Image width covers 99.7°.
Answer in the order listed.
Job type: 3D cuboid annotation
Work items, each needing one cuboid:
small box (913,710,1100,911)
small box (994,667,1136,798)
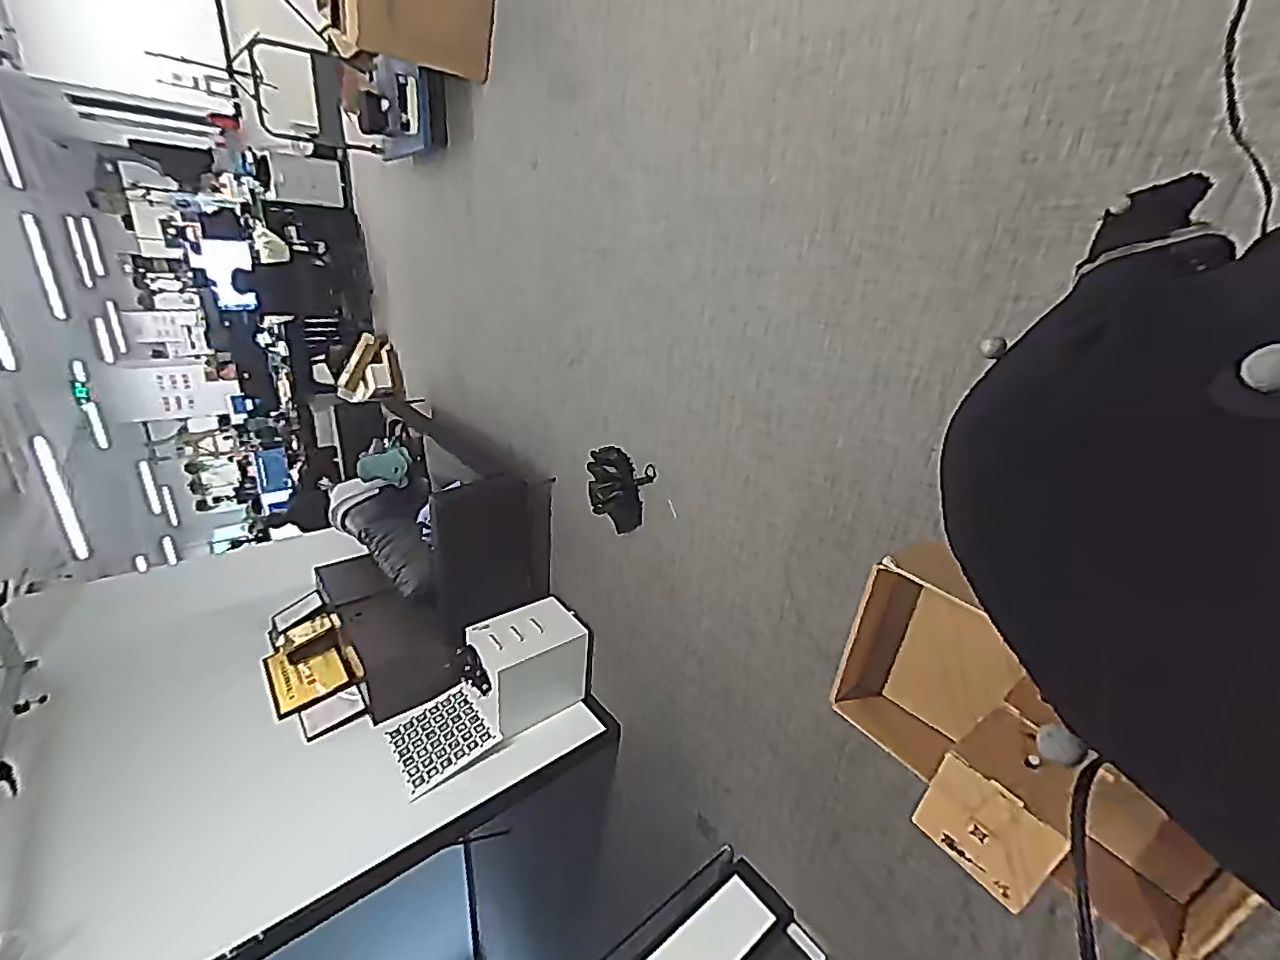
[{"bbox_3d":[0.569,0.497,0.841,0.168,0.176,0.179,36,128,44],"label":"small box"},{"bbox_3d":[0.702,0.458,0.929,0.168,0.176,0.179,36,130,44],"label":"small box"}]
